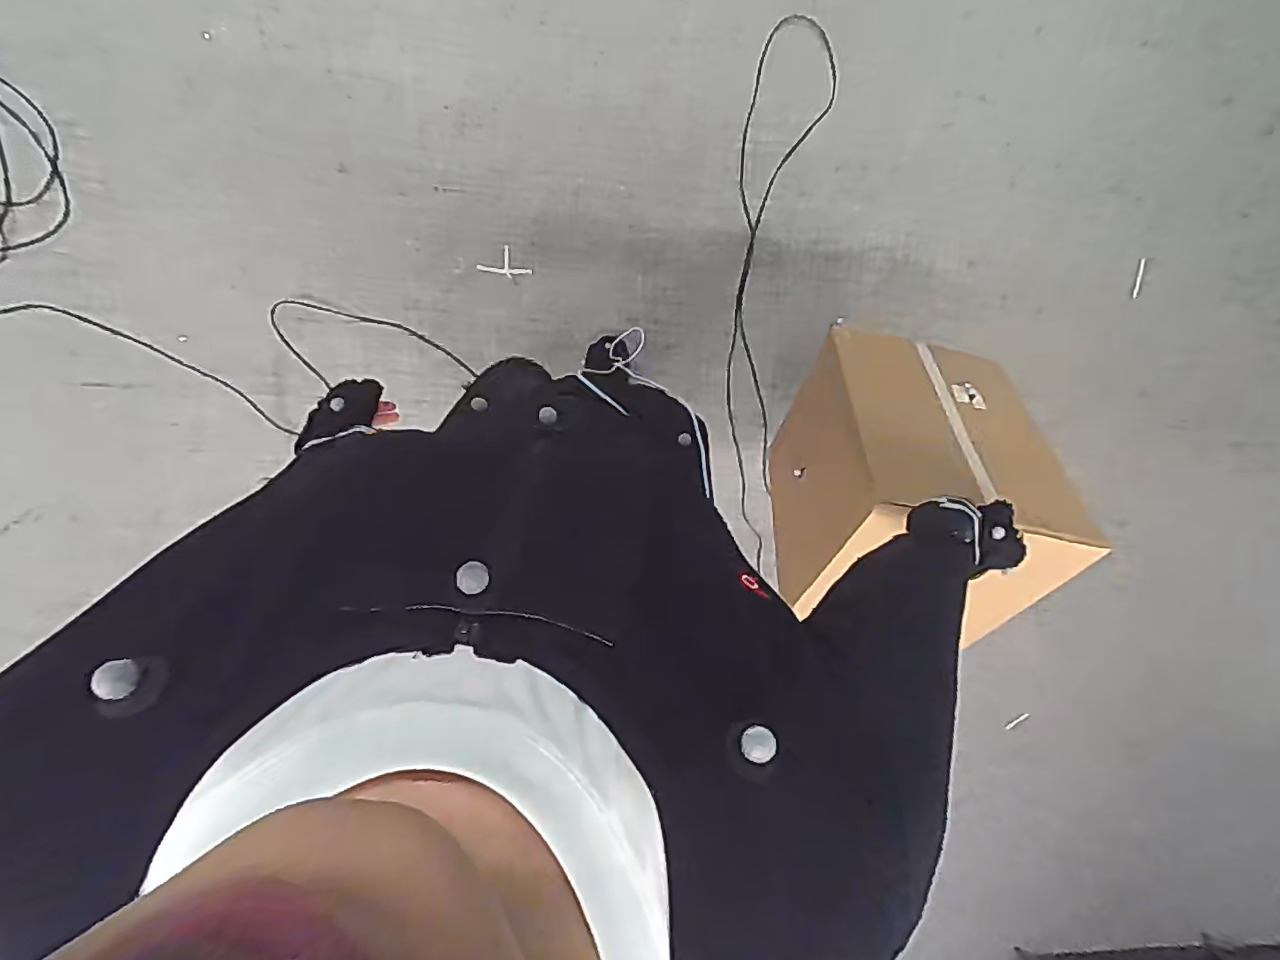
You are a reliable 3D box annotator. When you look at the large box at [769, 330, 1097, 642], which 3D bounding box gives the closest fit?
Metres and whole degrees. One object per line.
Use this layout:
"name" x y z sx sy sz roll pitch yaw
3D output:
"large box" 0.430 0.010 0.923 0.320 0.408 0.320 12 137 -5
